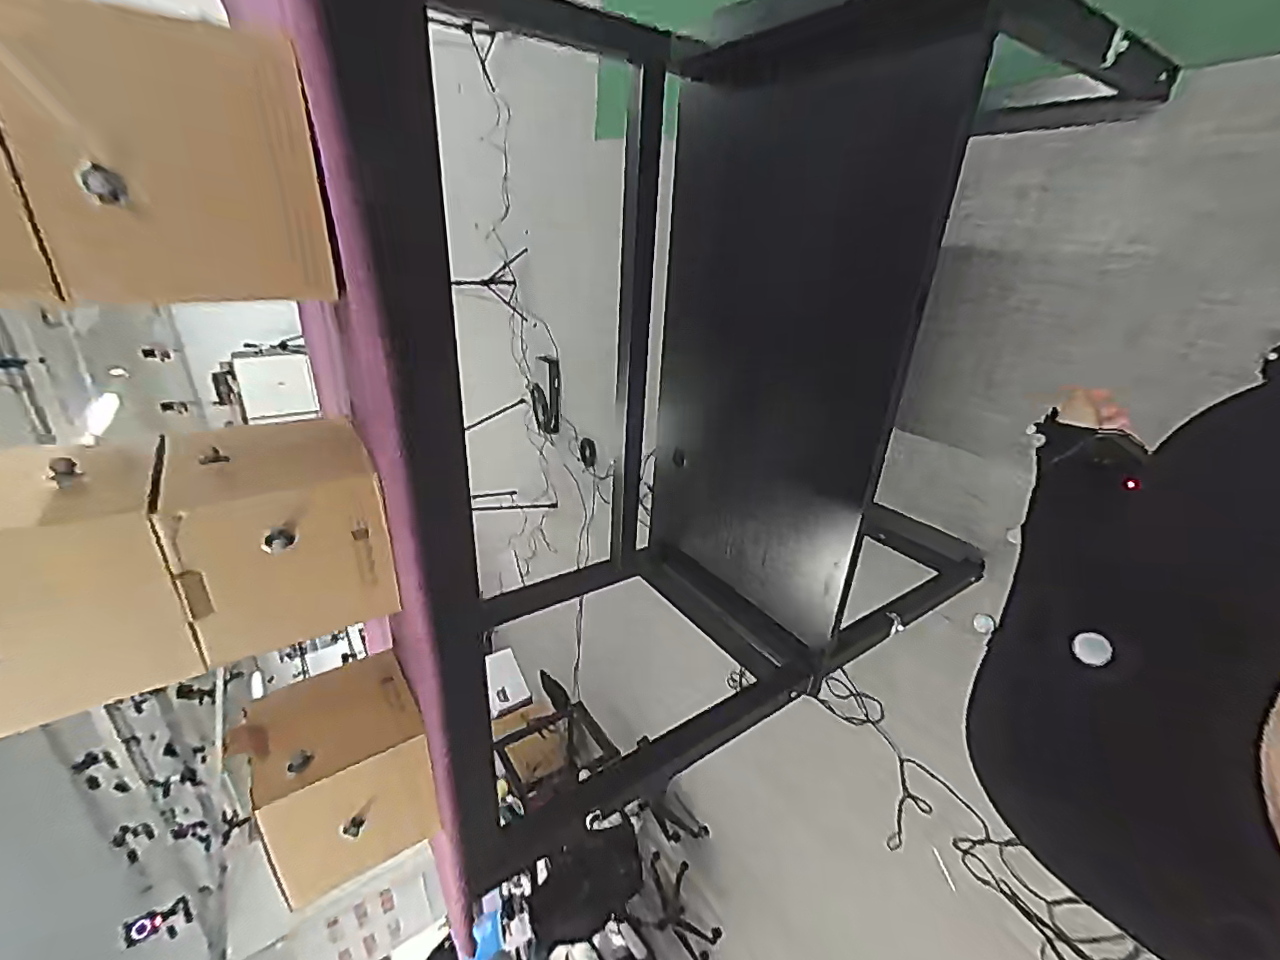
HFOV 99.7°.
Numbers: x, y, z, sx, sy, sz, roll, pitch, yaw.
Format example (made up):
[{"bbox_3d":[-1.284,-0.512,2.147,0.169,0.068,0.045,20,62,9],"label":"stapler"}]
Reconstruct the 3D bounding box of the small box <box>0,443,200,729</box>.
[{"bbox_3d":[-0.496,0.085,0.462,0.168,0.176,0.179,35,128,45],"label":"small box"}]

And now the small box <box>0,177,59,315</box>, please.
[{"bbox_3d":[-0.493,-0.203,0.347,0.168,0.176,0.179,35,129,49],"label":"small box"}]

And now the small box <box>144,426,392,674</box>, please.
[{"bbox_3d":[-0.360,0.053,0.549,0.179,0.176,0.168,35,129,47],"label":"small box"}]

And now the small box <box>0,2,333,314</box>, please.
[{"bbox_3d":[-0.354,-0.234,0.425,0.168,0.176,0.179,35,129,50],"label":"small box"}]
